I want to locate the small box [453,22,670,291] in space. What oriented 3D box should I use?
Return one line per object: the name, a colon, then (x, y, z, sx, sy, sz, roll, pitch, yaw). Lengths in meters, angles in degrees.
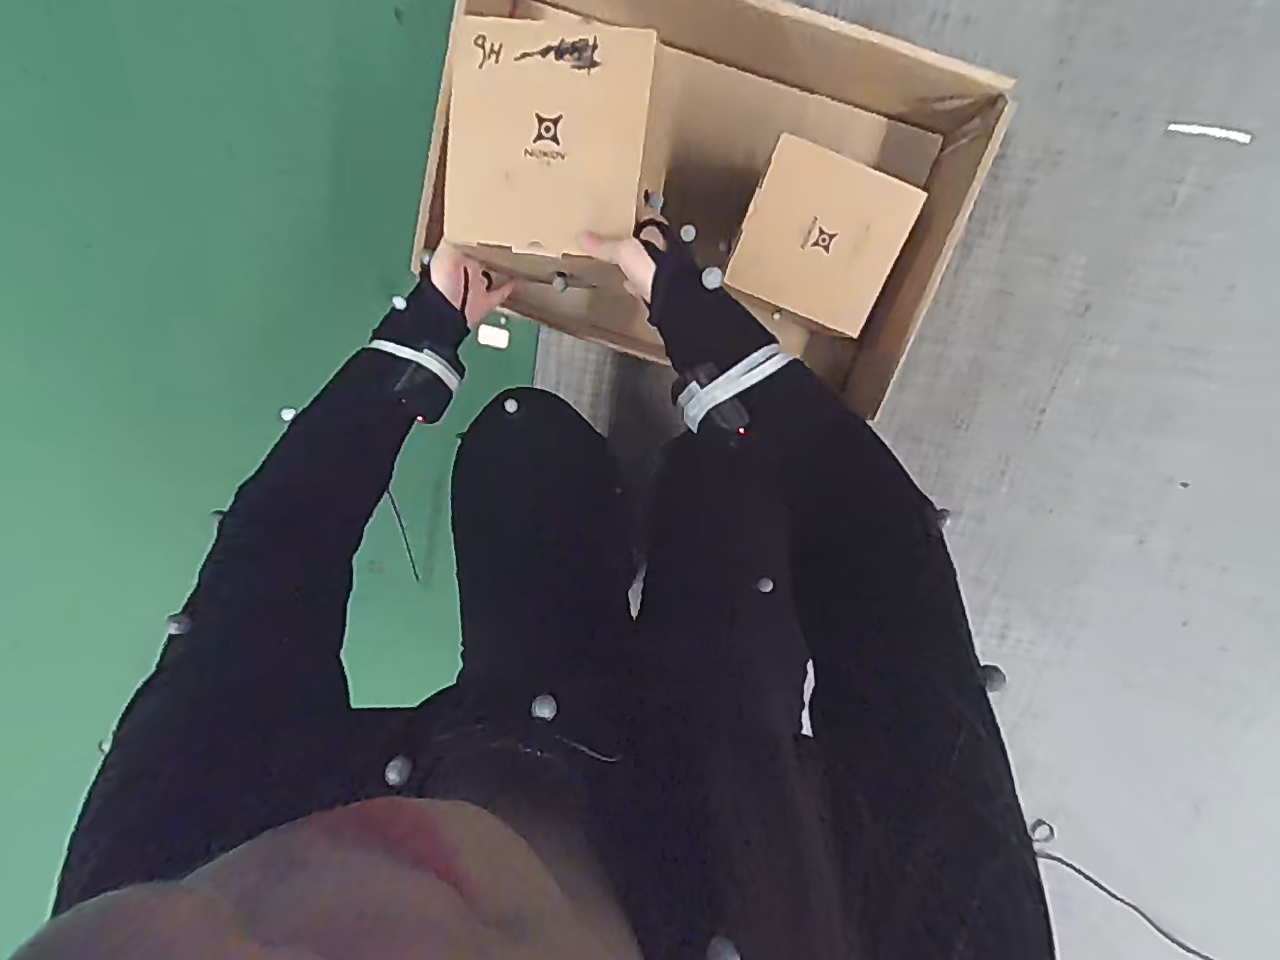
small box: (-0.065, -0.292, 0.530, 0.168, 0.176, 0.179, 9, 101, 4)
